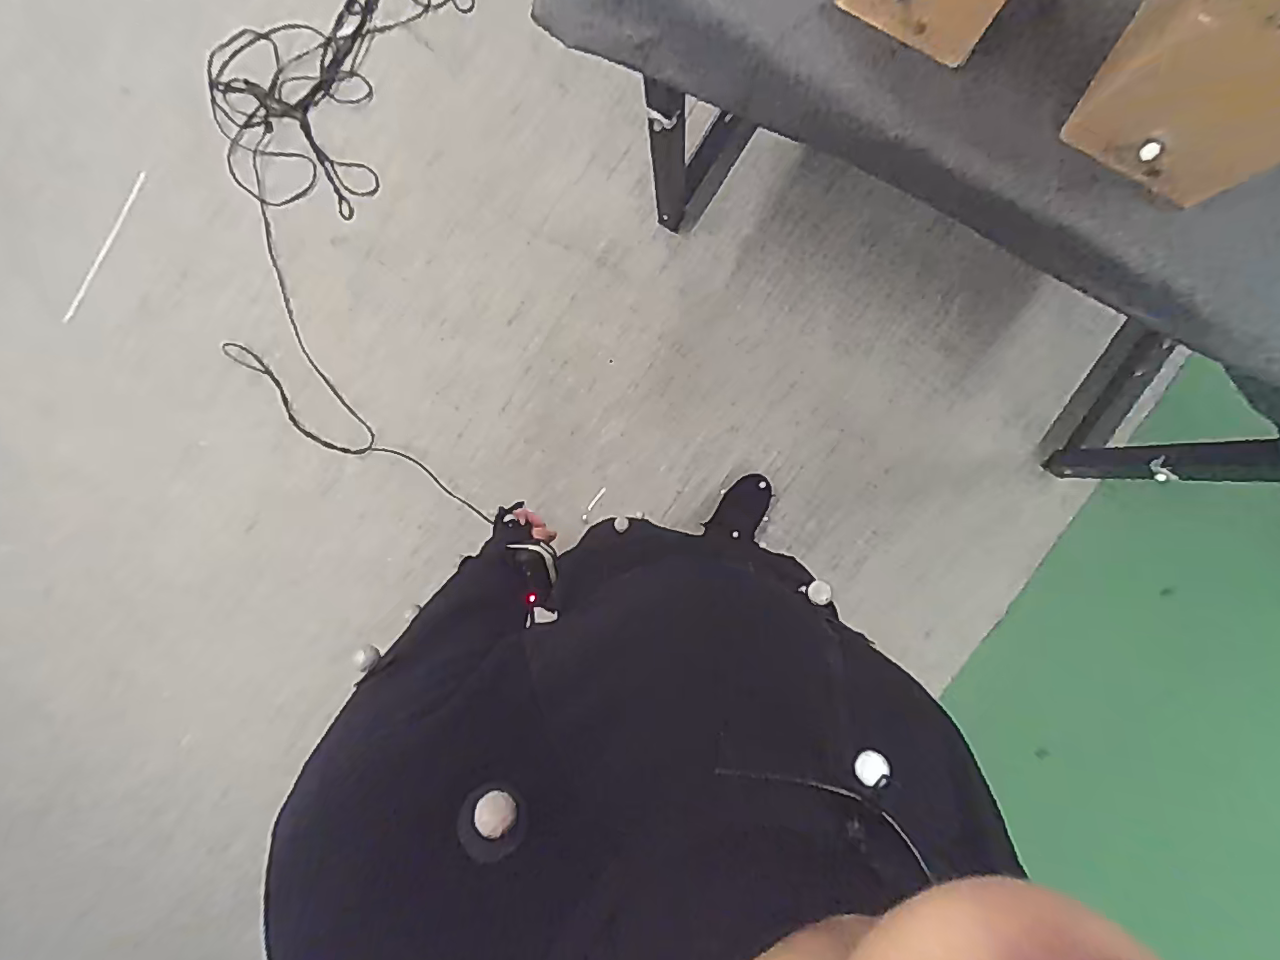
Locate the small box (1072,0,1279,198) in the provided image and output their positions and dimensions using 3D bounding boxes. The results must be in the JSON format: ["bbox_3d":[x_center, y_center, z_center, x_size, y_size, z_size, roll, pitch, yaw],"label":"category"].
[{"bbox_3d":[0.576,-0.418,0.515,0.168,0.176,0.179,32,93,3],"label":"small box"}]

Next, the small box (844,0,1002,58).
[{"bbox_3d":[0.329,-0.586,0.533,0.168,0.176,0.179,30,94,3],"label":"small box"}]
